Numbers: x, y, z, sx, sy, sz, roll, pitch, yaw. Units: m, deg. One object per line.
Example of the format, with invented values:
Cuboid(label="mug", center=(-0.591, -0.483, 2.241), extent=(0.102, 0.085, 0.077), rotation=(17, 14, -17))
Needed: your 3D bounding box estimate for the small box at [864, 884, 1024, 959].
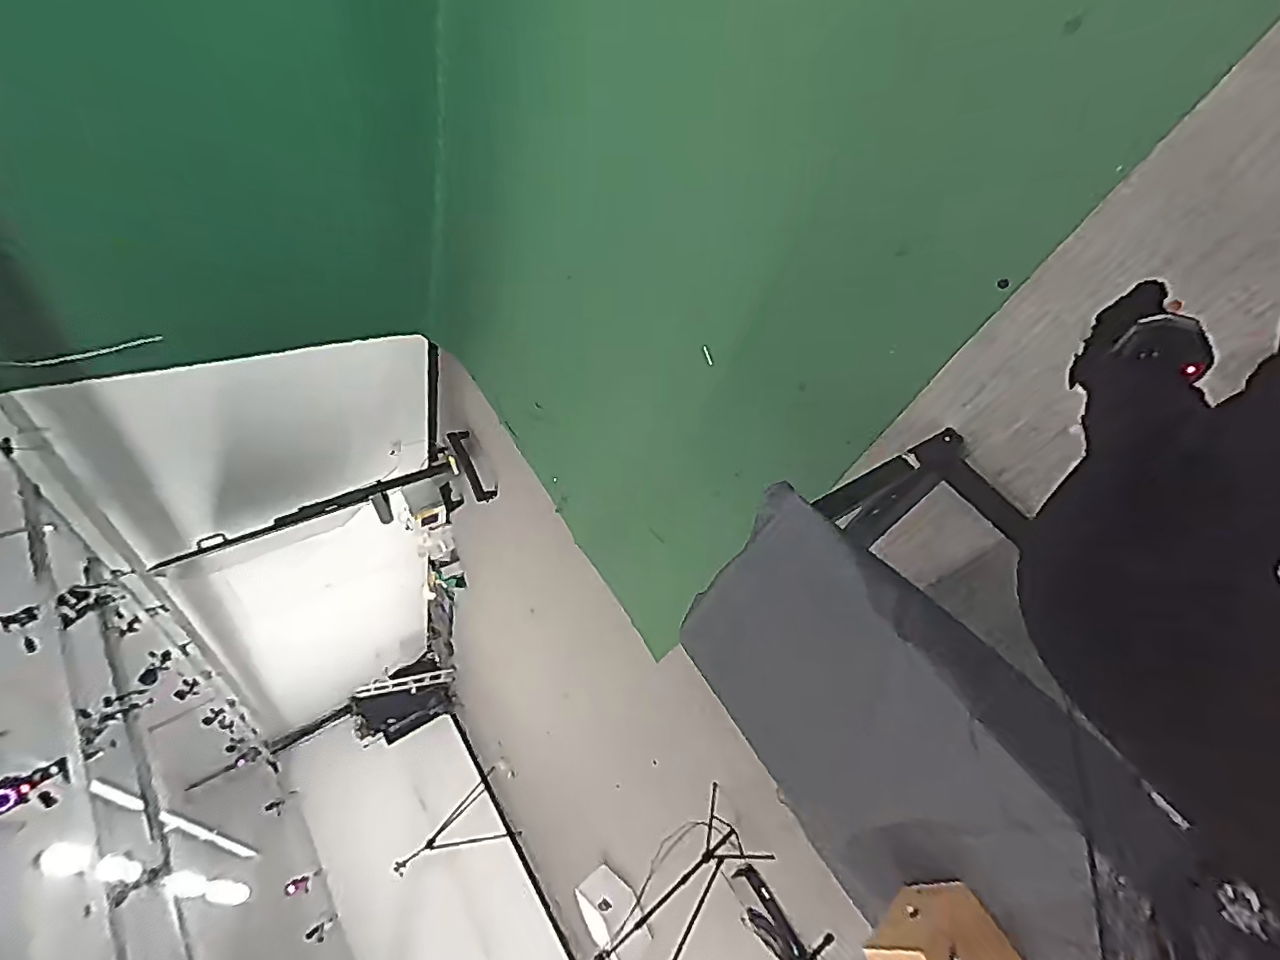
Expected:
Cuboid(label="small box", center=(0.557, 0.871, 0.980), extent=(0.179, 0.176, 0.168), rotation=(53, 142, 22))
